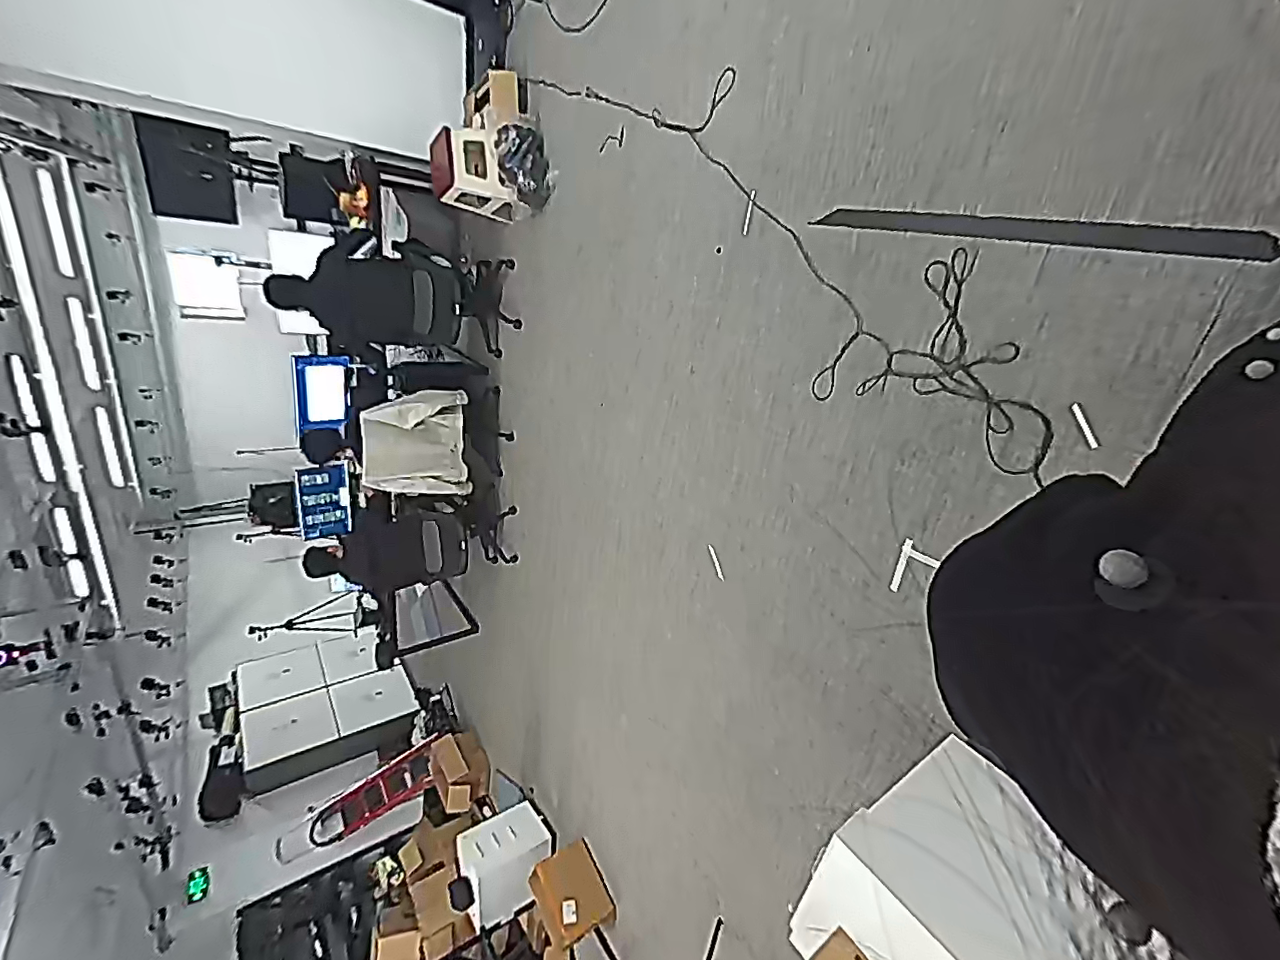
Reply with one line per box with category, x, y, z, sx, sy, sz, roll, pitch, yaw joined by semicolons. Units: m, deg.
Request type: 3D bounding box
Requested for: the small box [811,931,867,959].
small box;0.414;1.106;1.126;0.168;0.176;0.179;36;125;44
